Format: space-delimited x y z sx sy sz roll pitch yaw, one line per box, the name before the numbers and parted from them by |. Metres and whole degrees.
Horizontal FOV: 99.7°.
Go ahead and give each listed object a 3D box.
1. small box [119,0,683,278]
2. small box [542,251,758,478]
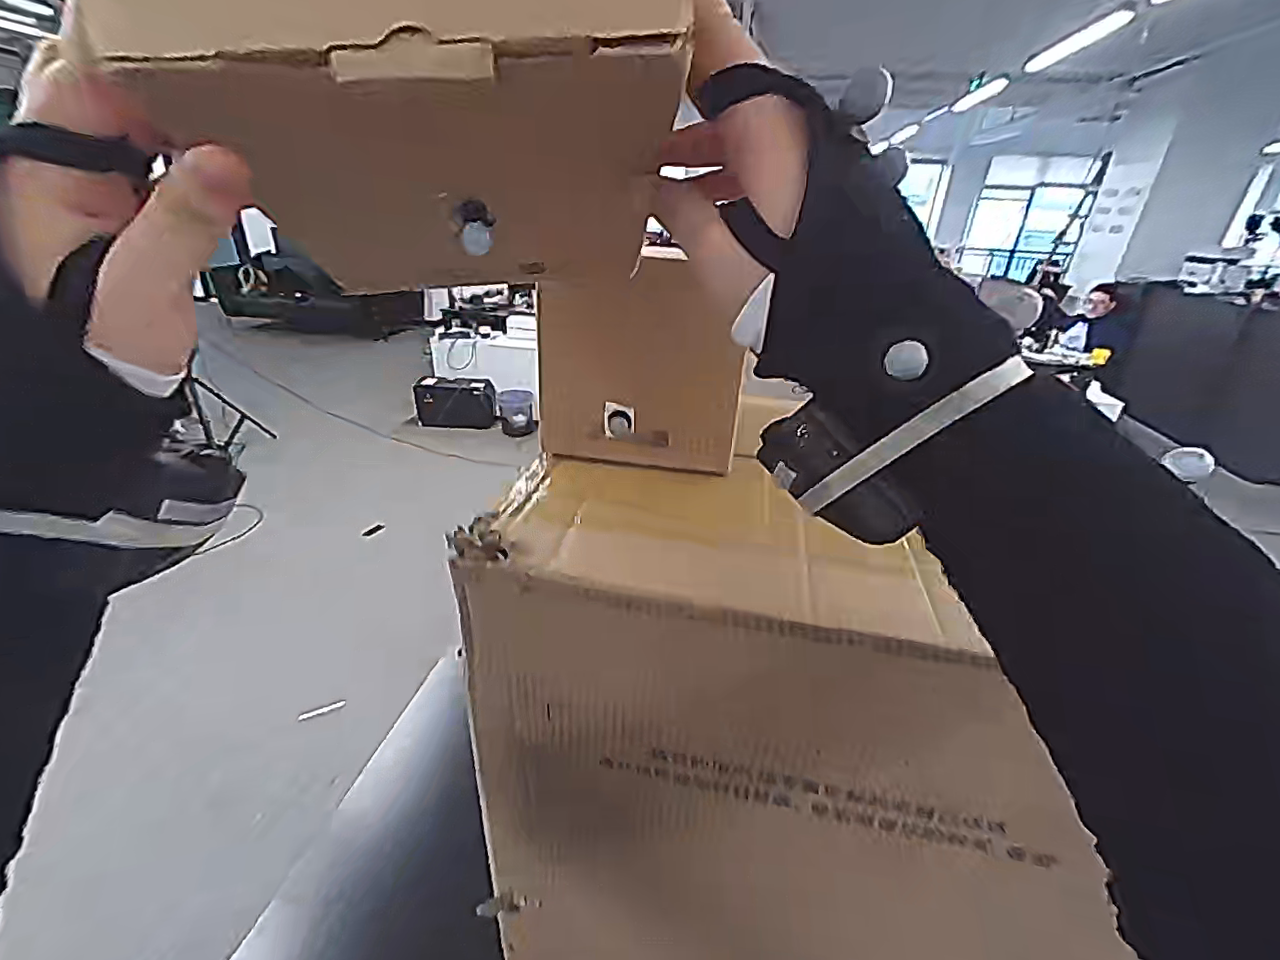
small box | -0.082 -0.204 0.242 0.168 0.179 0.176 -7 0 -6
small box | 0.011 -0.117 0.502 0.168 0.176 0.179 5 26 6
